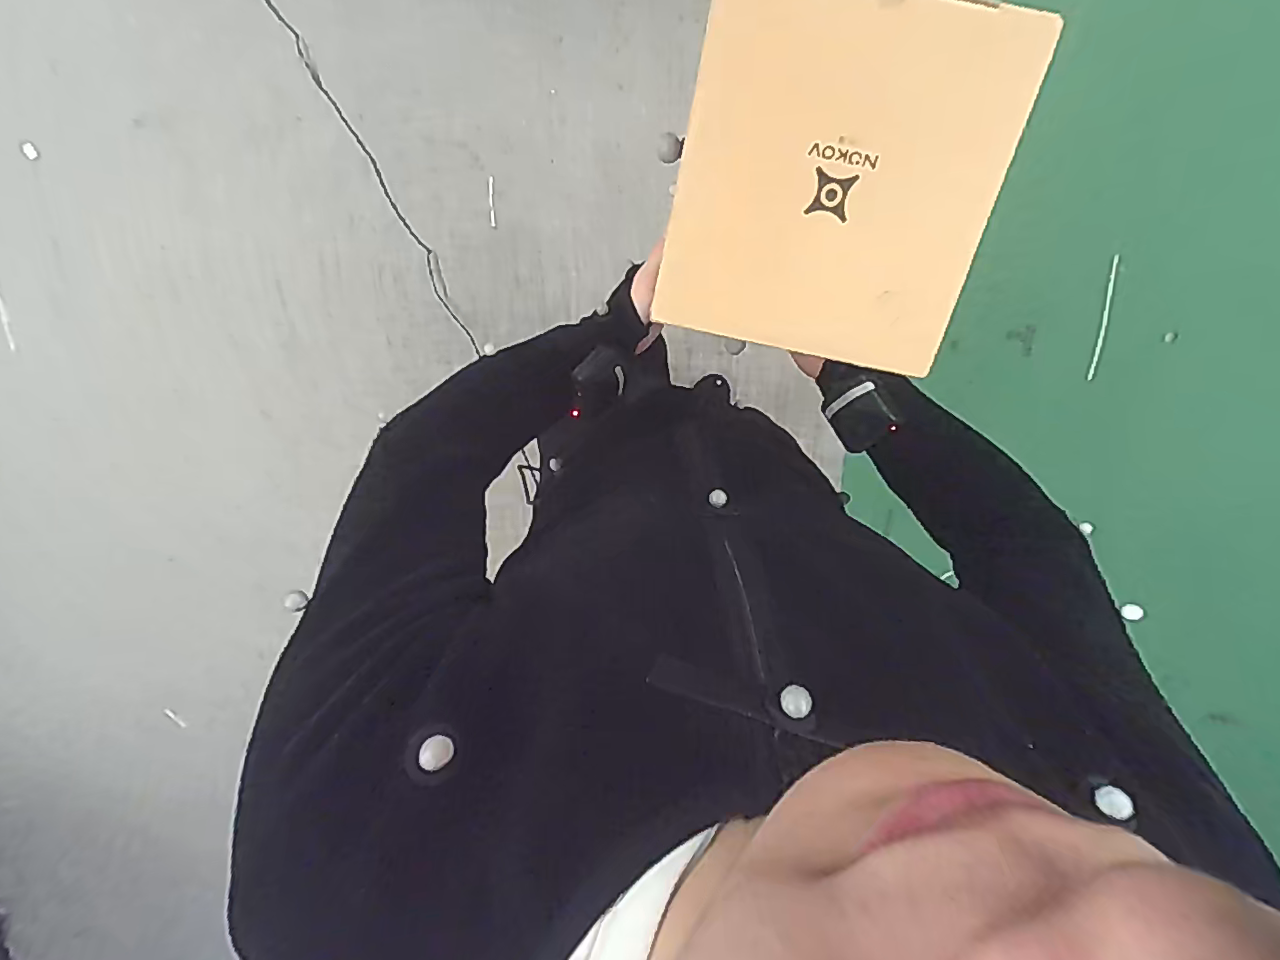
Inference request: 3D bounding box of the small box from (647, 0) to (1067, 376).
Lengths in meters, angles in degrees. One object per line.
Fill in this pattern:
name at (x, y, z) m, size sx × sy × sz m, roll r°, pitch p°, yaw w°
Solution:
small box at (0.107, -0.181, 0.350) m, size 0.168 × 0.176 × 0.179 m, roll 12°, pitch 110°, yaw 0°
